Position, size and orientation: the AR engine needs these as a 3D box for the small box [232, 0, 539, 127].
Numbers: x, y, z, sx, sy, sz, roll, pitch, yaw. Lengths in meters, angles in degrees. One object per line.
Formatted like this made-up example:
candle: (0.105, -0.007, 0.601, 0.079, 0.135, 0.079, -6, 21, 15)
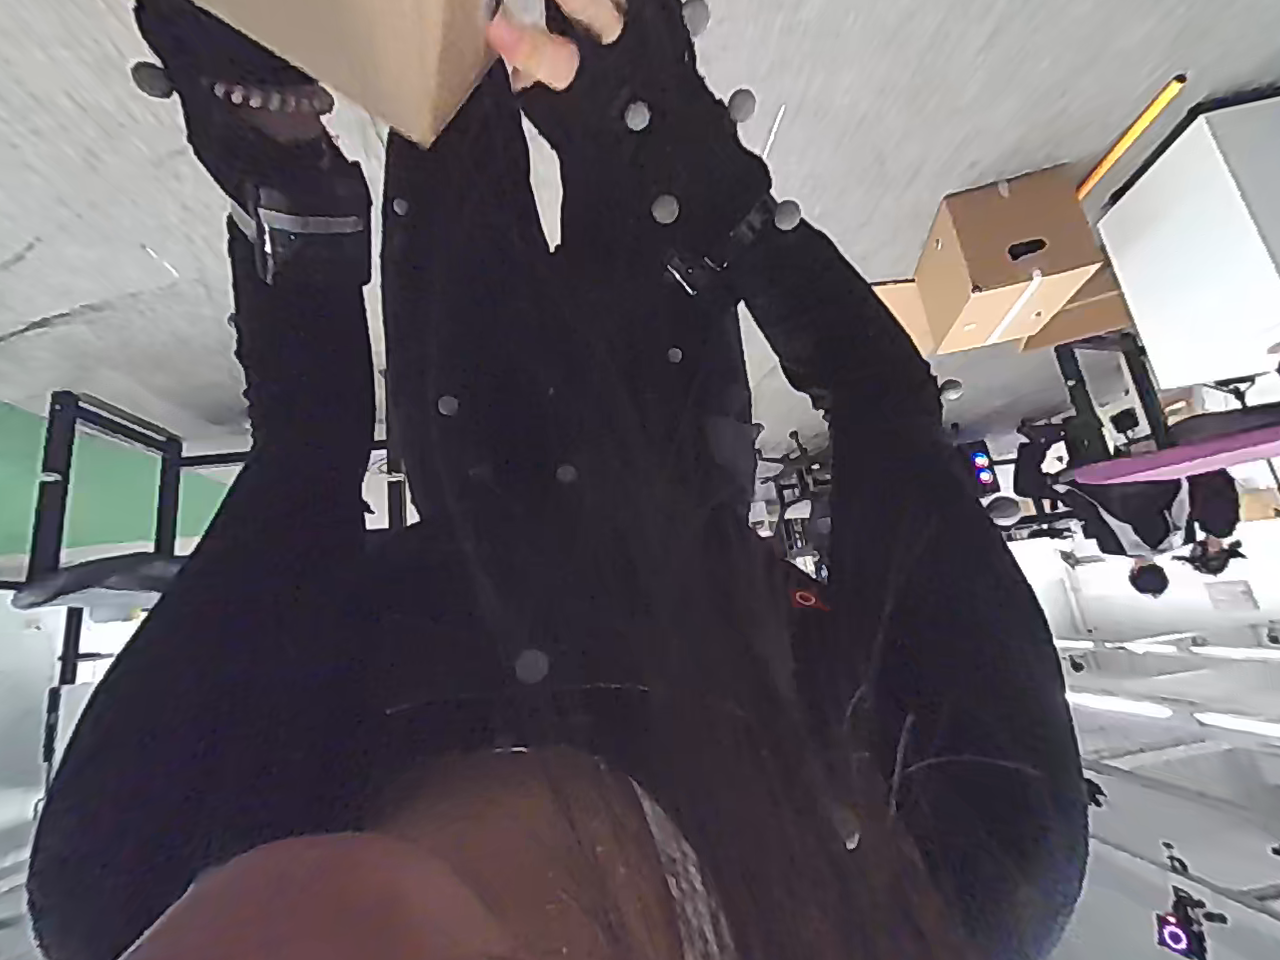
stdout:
small box: (-0.085, -0.258, 0.143, 0.168, 0.179, 0.176, 25, 155, -17)
